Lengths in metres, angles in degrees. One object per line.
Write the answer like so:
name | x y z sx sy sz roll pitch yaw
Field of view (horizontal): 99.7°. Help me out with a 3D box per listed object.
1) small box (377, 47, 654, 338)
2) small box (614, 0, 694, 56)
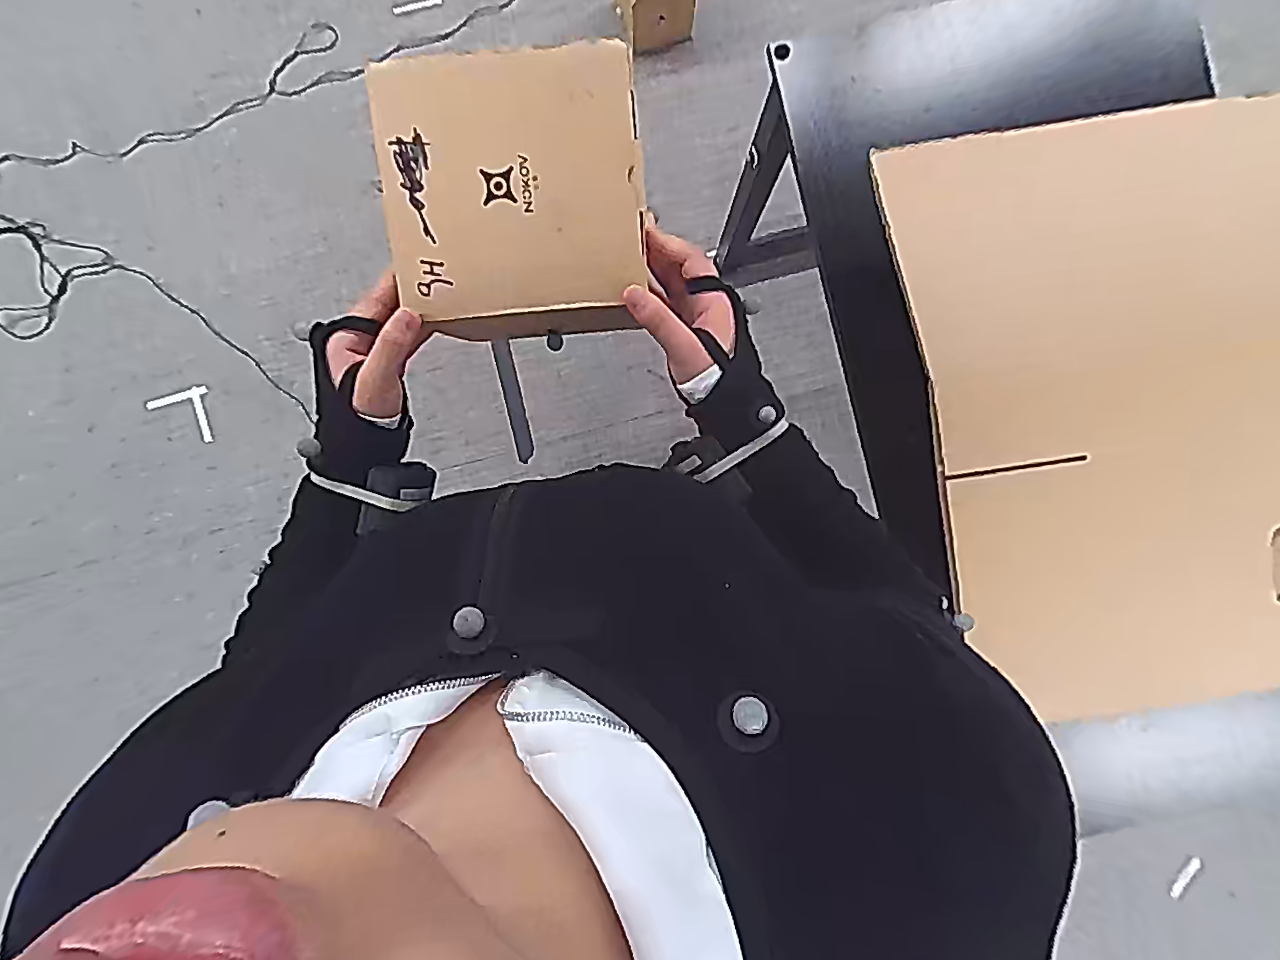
small box | -0.085 -0.214 0.448 0.179 0.176 0.168 -5 98 -1
small box | 0.032 -1.277 1.428 0.179 0.176 0.168 -18 90 0
